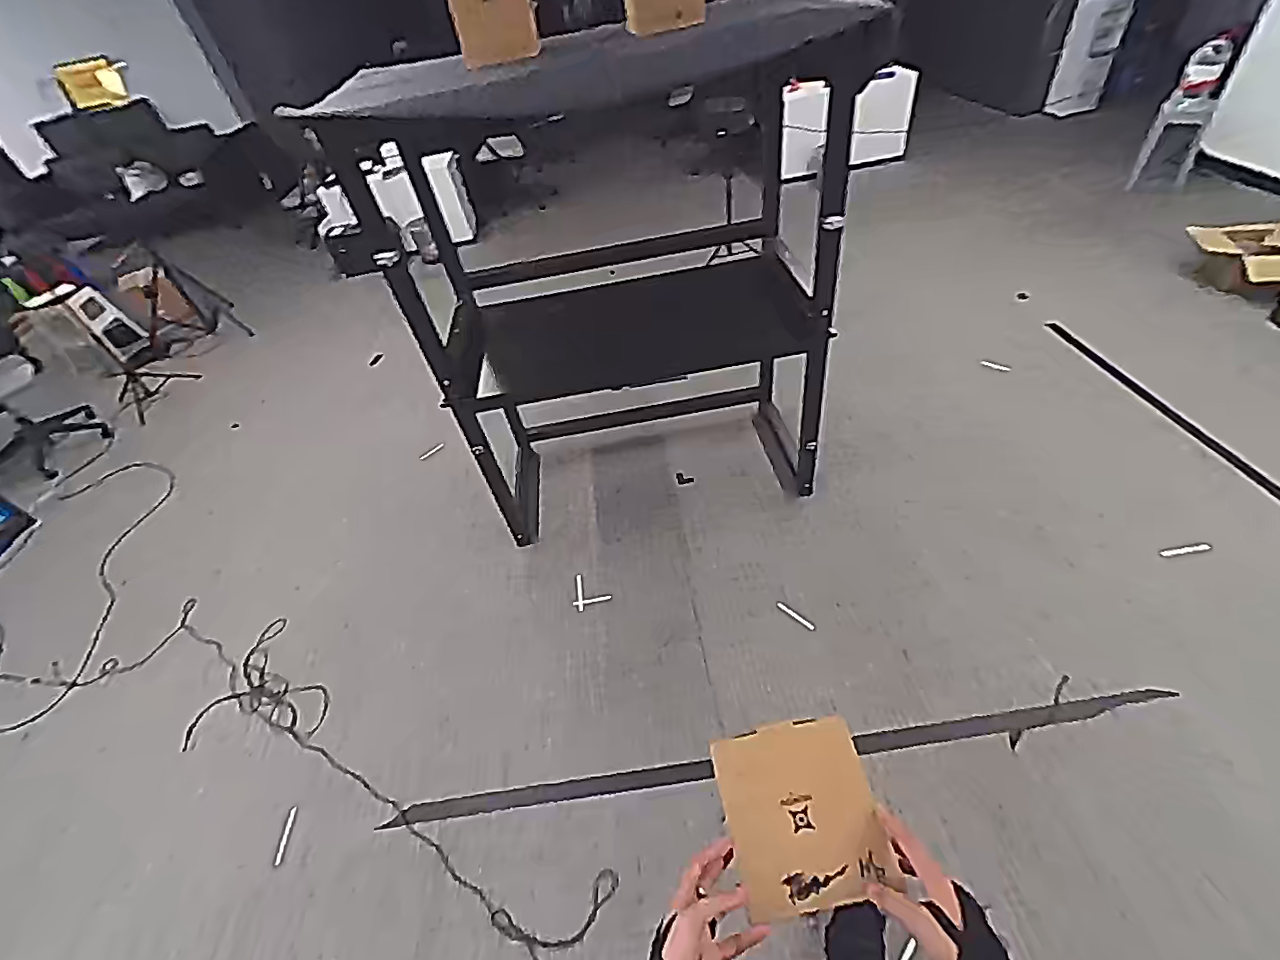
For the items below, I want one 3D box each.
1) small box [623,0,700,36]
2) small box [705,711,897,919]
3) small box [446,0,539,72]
[{"bbox_3d":[0.046,-1.182,1.288,0.168,0.176,0.179,-11,45,-1],"label":"small box"},{"bbox_3d":[0.181,0.409,0.666,0.168,0.176,0.179,-14,55,1],"label":"small box"},{"bbox_3d":[-0.349,-1.110,1.298,0.179,0.176,0.168,-10,45,2],"label":"small box"}]
